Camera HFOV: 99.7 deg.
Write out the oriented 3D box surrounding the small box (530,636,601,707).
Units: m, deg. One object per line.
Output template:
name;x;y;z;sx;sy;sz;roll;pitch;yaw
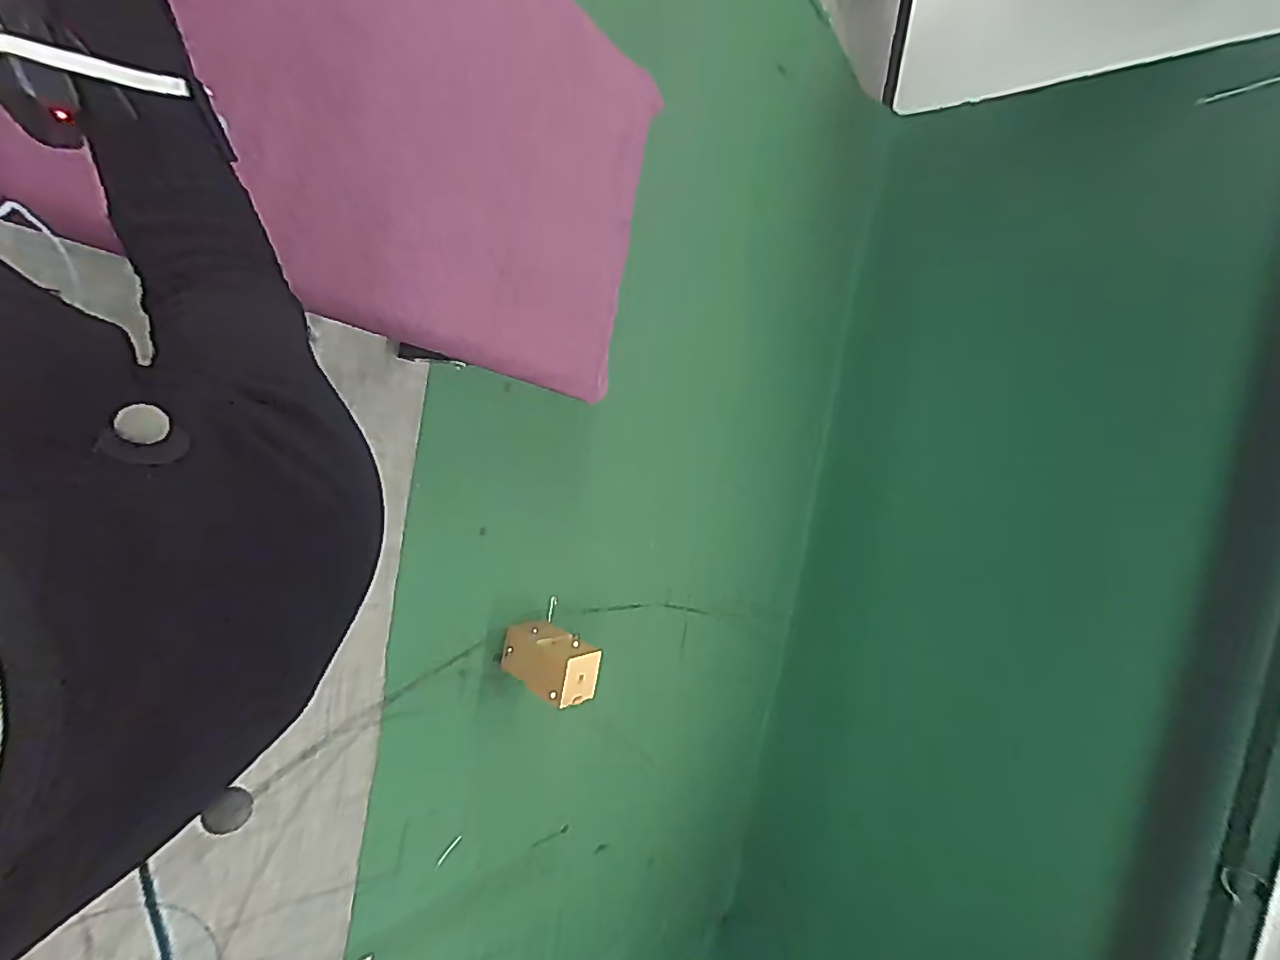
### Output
small box;-0.264;0.662;1.901;0.168;0.176;0.179;6;96;-51
